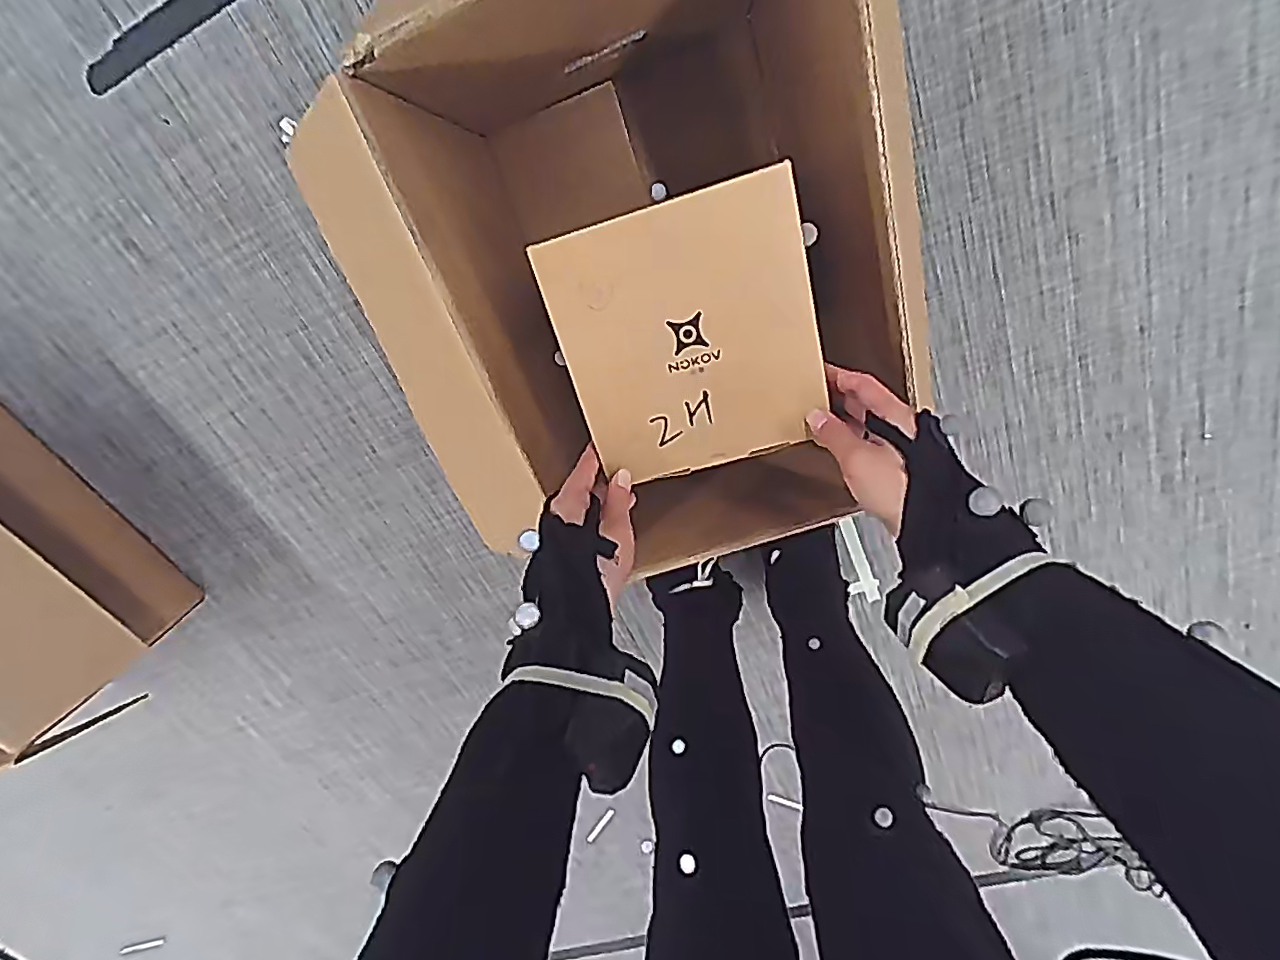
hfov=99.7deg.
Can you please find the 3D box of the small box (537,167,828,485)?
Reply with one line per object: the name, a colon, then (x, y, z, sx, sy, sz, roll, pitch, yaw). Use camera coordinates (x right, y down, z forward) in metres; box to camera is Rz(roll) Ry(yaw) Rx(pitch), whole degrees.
small box: (0.035, -0.122, 0.436, 0.168, 0.176, 0.179, -14, 113, 8)
